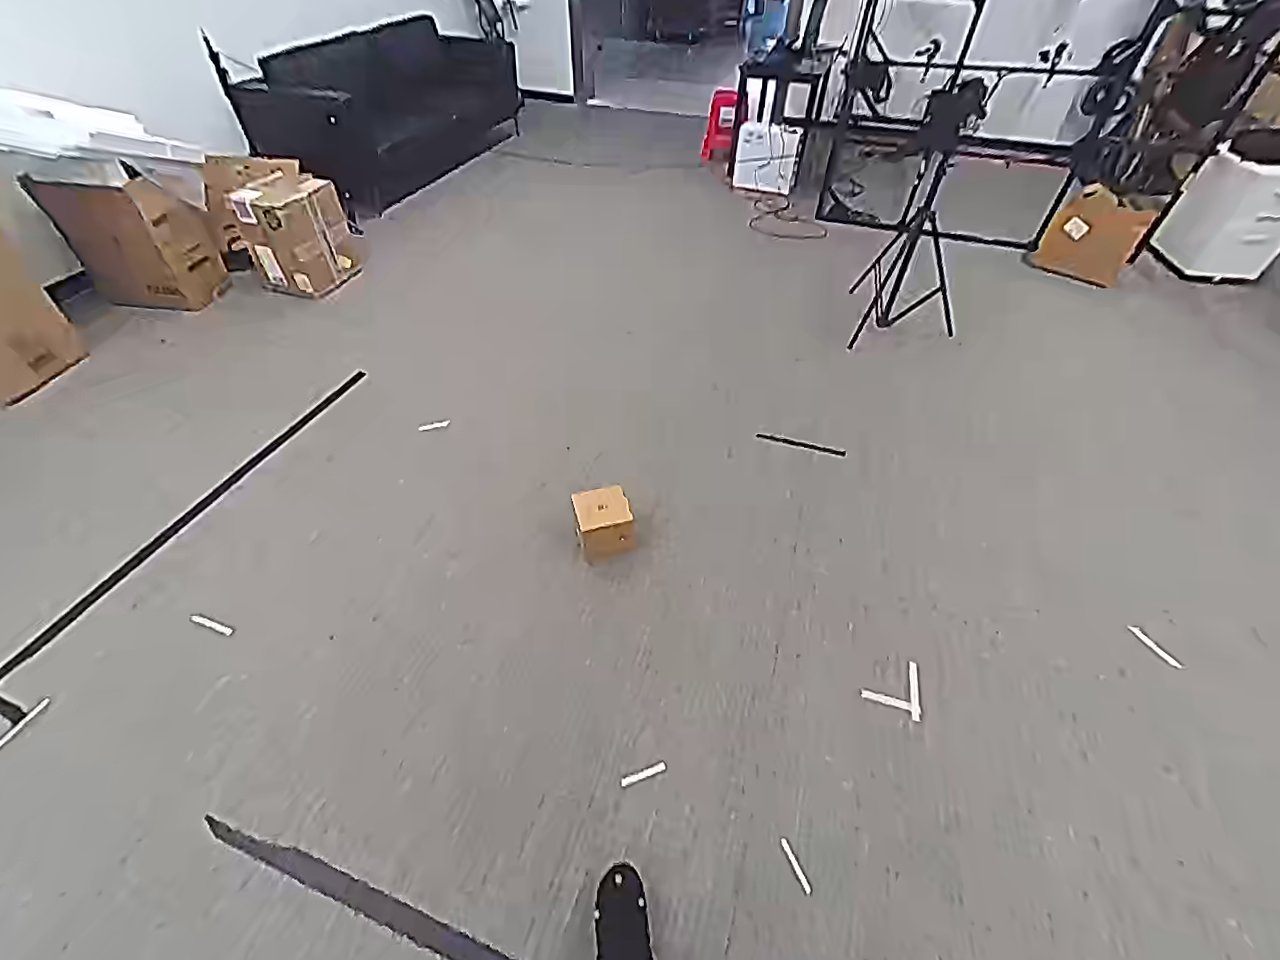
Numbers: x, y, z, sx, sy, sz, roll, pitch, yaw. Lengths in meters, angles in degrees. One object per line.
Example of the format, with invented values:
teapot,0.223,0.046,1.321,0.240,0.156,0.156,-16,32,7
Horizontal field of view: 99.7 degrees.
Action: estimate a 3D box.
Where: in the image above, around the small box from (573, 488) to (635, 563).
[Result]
small box,-0.121,0.154,1.821,0.179,0.176,0.168,-13,46,-12
